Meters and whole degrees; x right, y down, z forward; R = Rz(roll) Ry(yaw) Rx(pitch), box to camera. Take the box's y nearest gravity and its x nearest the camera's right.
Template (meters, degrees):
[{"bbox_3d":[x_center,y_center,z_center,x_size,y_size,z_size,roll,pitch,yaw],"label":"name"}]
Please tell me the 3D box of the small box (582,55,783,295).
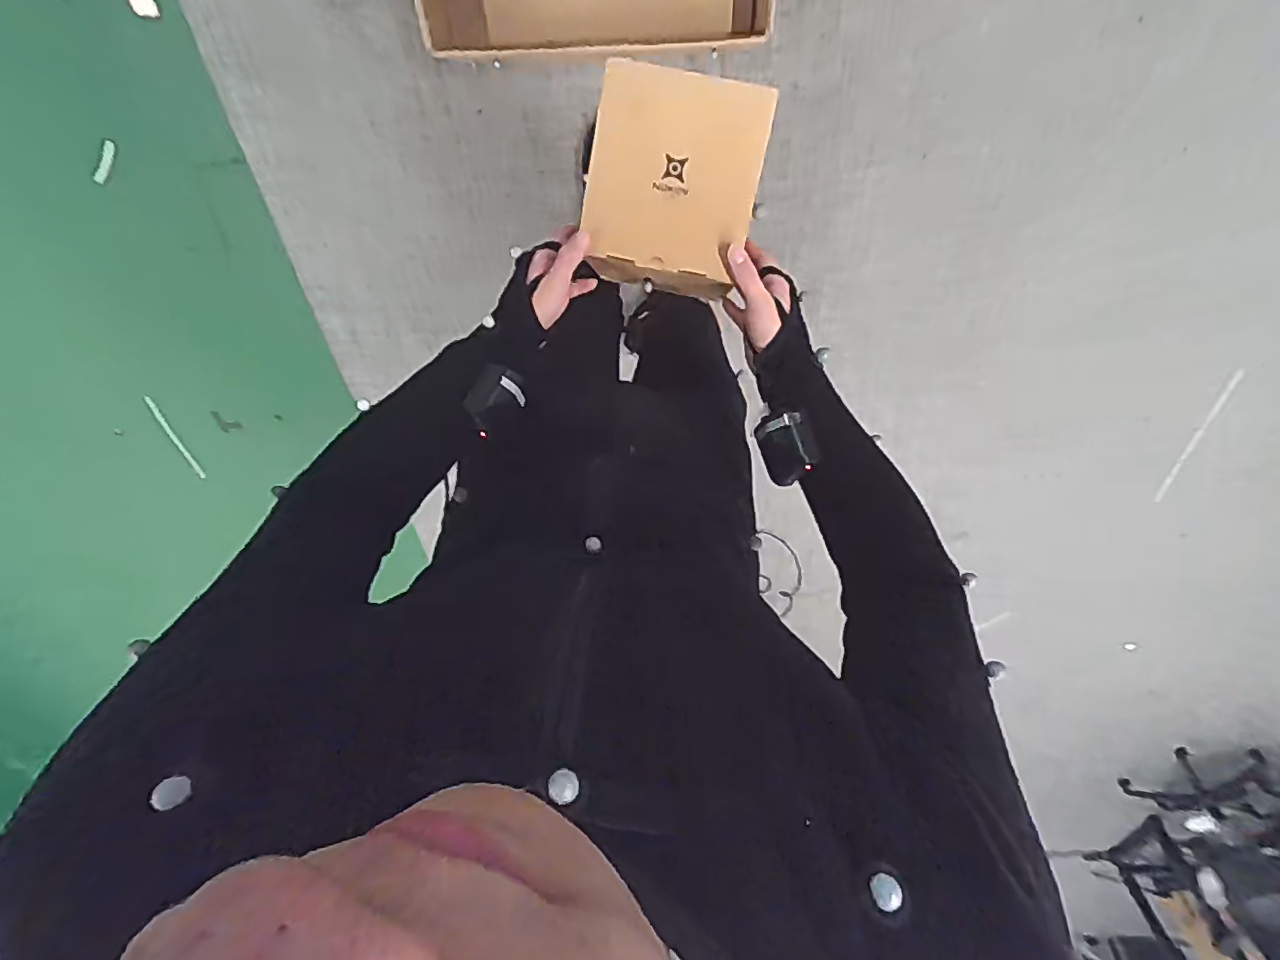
[{"bbox_3d":[0.041,-0.315,0.599,0.168,0.176,0.179,12,105,0],"label":"small box"}]
